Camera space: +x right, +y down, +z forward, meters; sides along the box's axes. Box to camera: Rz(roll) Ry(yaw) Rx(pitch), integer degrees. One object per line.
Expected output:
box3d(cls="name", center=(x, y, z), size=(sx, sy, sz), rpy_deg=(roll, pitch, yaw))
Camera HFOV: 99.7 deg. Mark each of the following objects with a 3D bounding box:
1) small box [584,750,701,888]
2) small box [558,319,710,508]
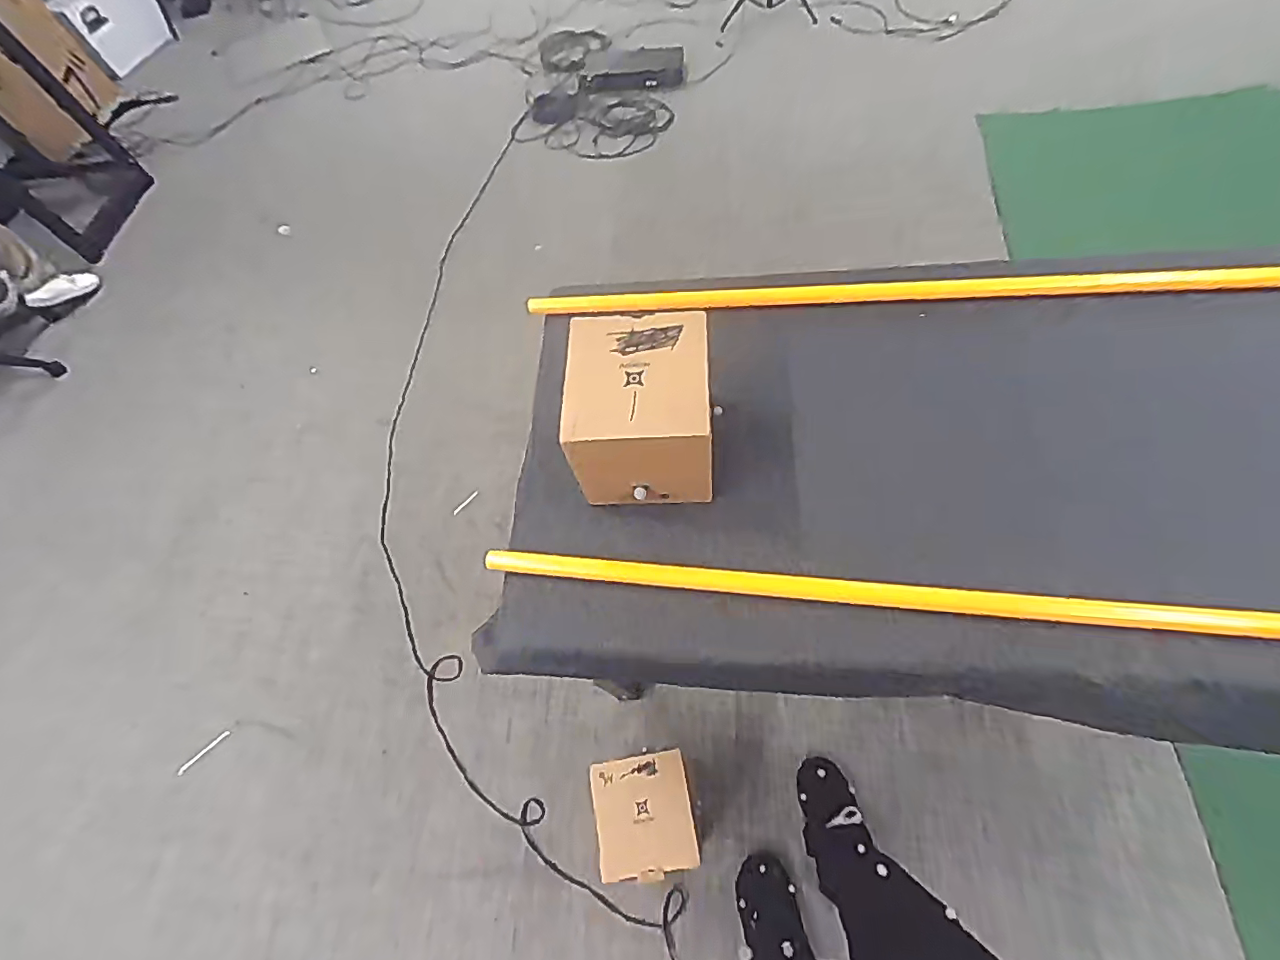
box3d(cls="small box", center=(0.009, 0.600, 0.976), size=(0.168, 0.176, 0.179), rpy_deg=(-15, 61, 3))
box3d(cls="small box", center=(0.004, -0.078, 0.688), size=(0.168, 0.176, 0.179), rpy_deg=(-2, 62, 8))
